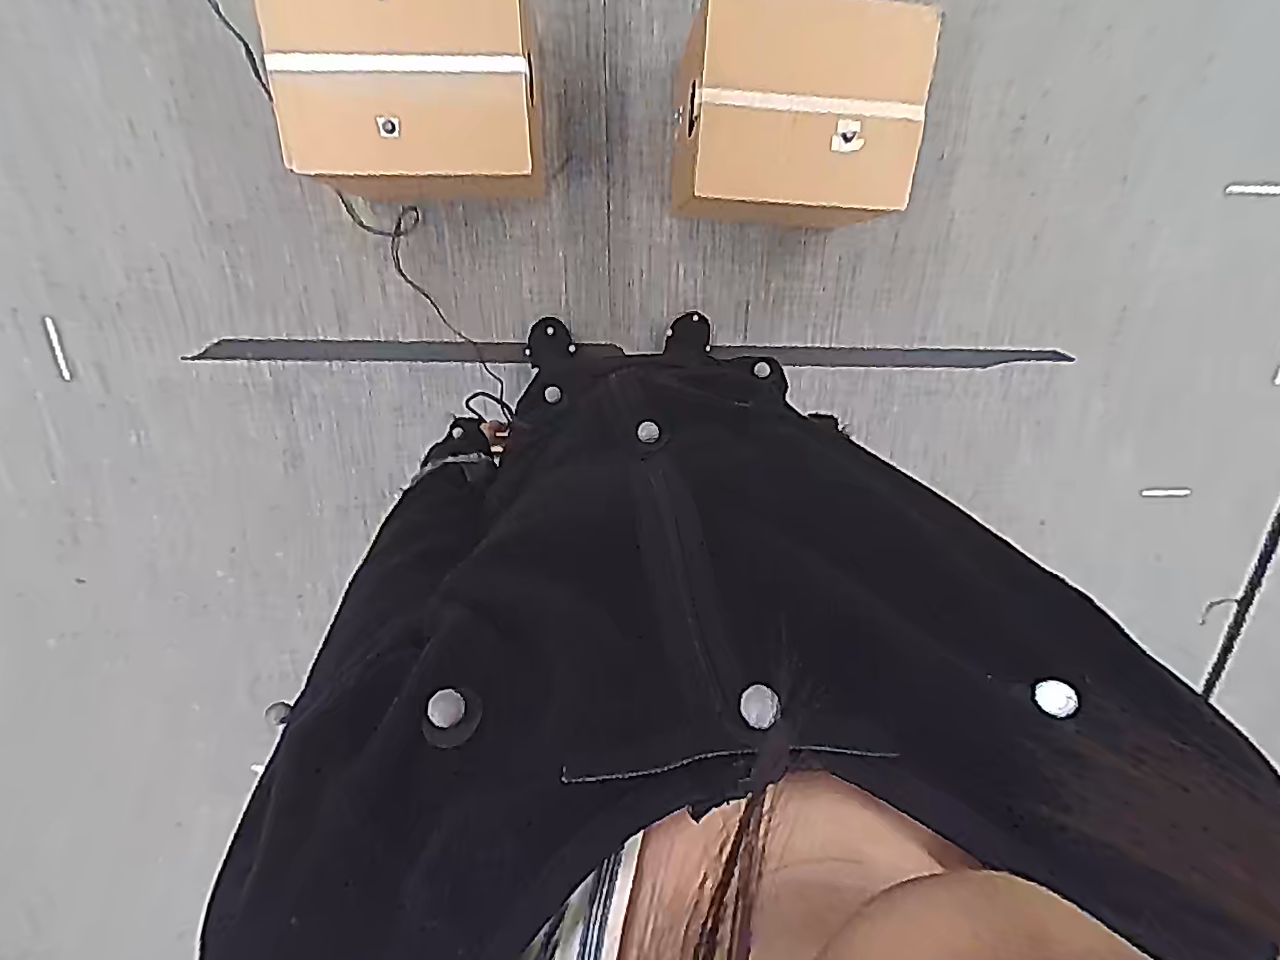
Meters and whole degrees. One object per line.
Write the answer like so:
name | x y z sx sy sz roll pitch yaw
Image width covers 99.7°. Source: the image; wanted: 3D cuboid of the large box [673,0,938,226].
large box | 0.291 -0.707 1.087 0.408 0.320 0.320 1 110 -6
